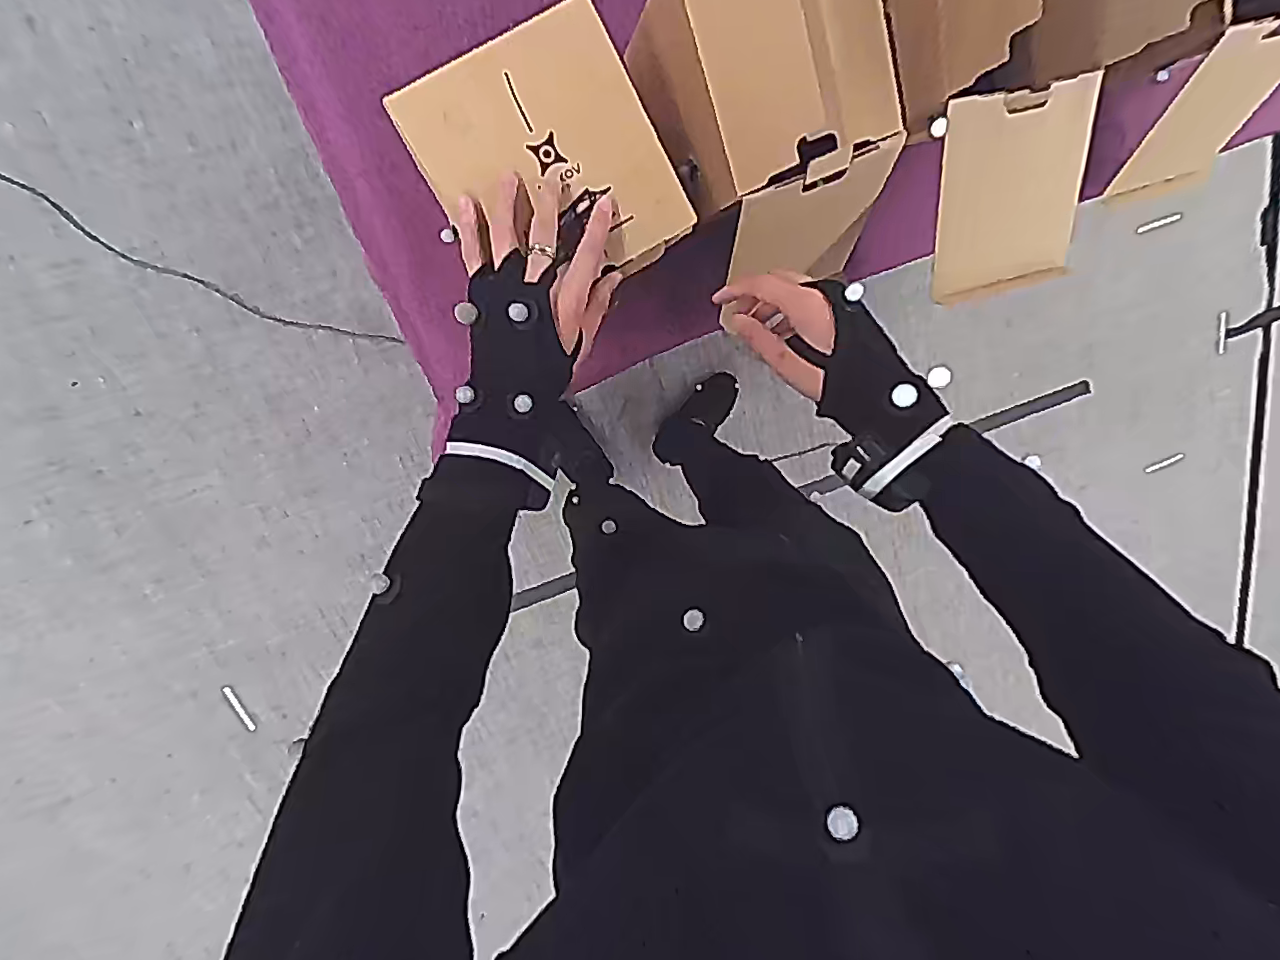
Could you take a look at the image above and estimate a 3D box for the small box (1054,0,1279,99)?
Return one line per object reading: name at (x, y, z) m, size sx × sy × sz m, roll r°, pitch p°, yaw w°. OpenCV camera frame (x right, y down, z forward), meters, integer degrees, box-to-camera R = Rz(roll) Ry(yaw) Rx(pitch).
small box at (0.569, -0.539, 0.559) m, size 0.168 × 0.176 × 0.179 m, roll -19°, pitch 108°, yaw -7°
